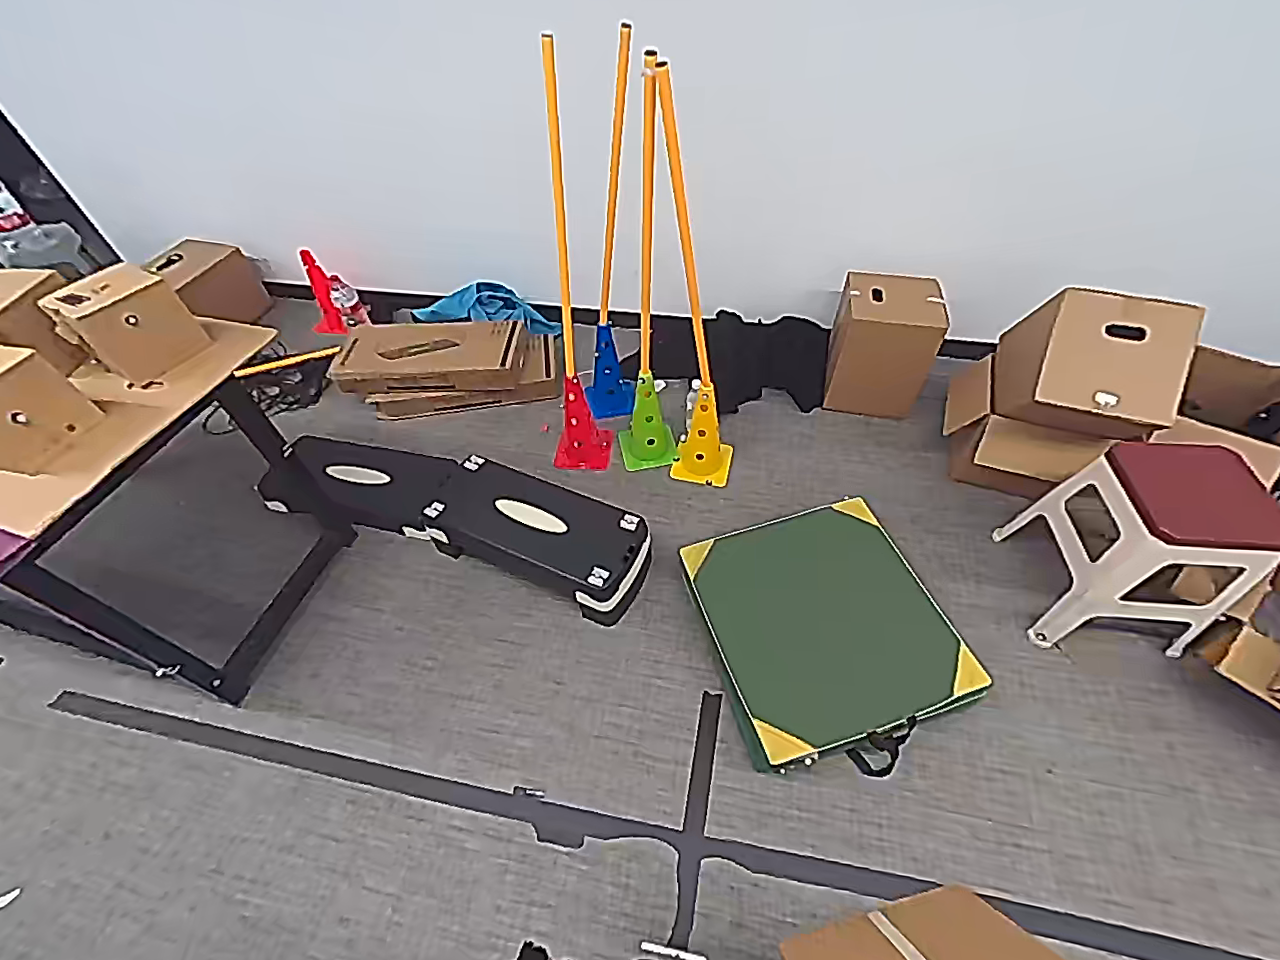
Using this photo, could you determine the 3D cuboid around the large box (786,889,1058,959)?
[{"bbox_3d":[0.416,0.772,0.610,0.320,0.408,0.320,-12,79,-9],"label":"large box"}]
